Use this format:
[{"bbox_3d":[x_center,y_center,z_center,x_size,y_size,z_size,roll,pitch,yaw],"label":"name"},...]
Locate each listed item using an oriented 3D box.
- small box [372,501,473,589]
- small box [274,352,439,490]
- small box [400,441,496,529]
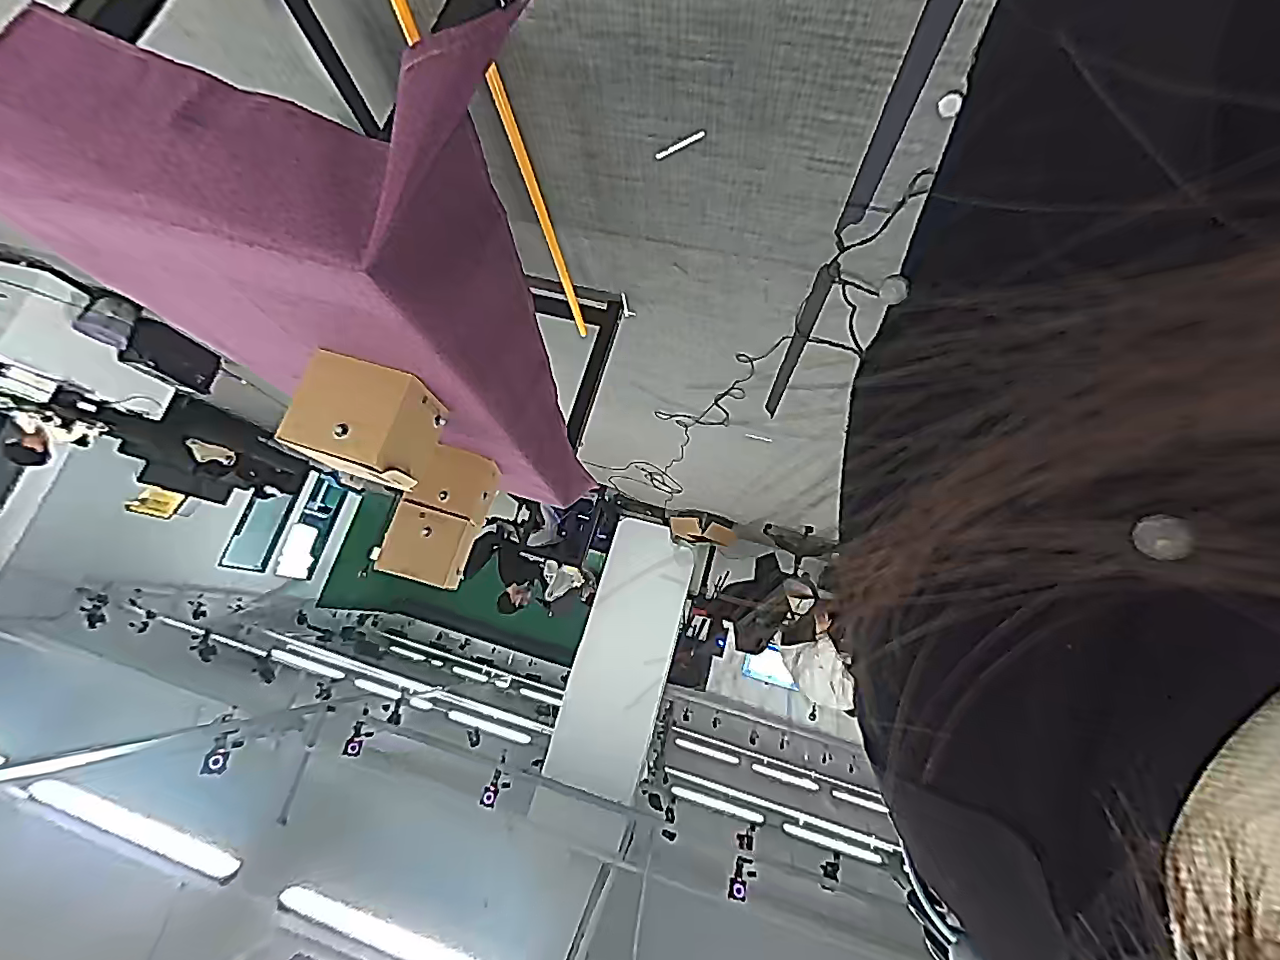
[{"bbox_3d":[-0.528,0.164,1.344,0.168,0.176,0.179,17,165,-5],"label":"small box"},{"bbox_3d":[-0.473,-0.101,0.939,0.179,0.176,0.168,17,166,5],"label":"small box"},{"bbox_3d":[-0.481,0.013,1.390,0.179,0.176,0.168,18,165,-3],"label":"small box"}]
